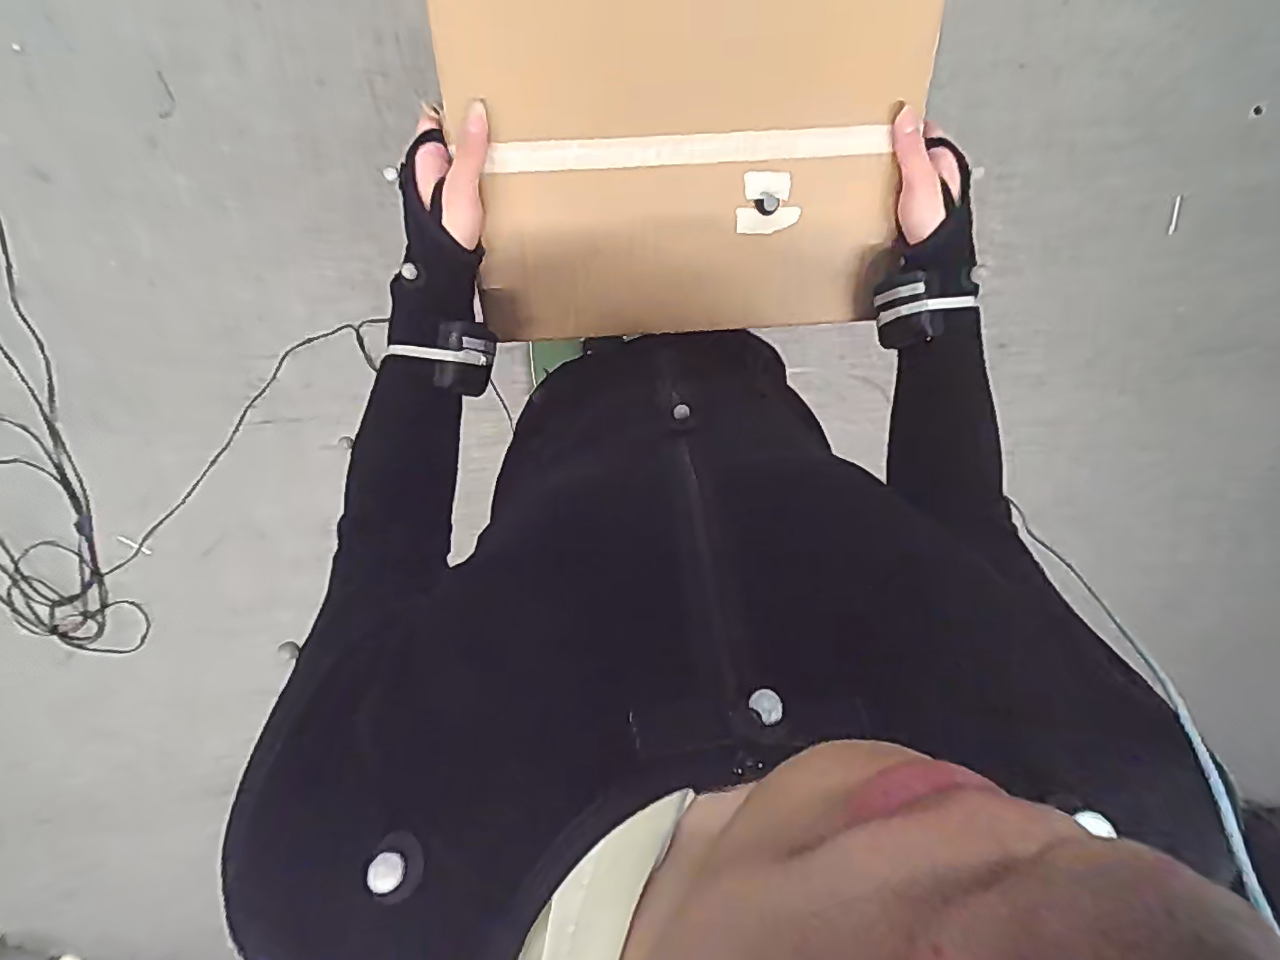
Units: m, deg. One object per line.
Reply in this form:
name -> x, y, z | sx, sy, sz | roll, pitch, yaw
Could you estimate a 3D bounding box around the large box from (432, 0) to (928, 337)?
large box -> 0.028, -0.363, 0.606 | 0.408, 0.320, 0.320 | -5, 119, -4
